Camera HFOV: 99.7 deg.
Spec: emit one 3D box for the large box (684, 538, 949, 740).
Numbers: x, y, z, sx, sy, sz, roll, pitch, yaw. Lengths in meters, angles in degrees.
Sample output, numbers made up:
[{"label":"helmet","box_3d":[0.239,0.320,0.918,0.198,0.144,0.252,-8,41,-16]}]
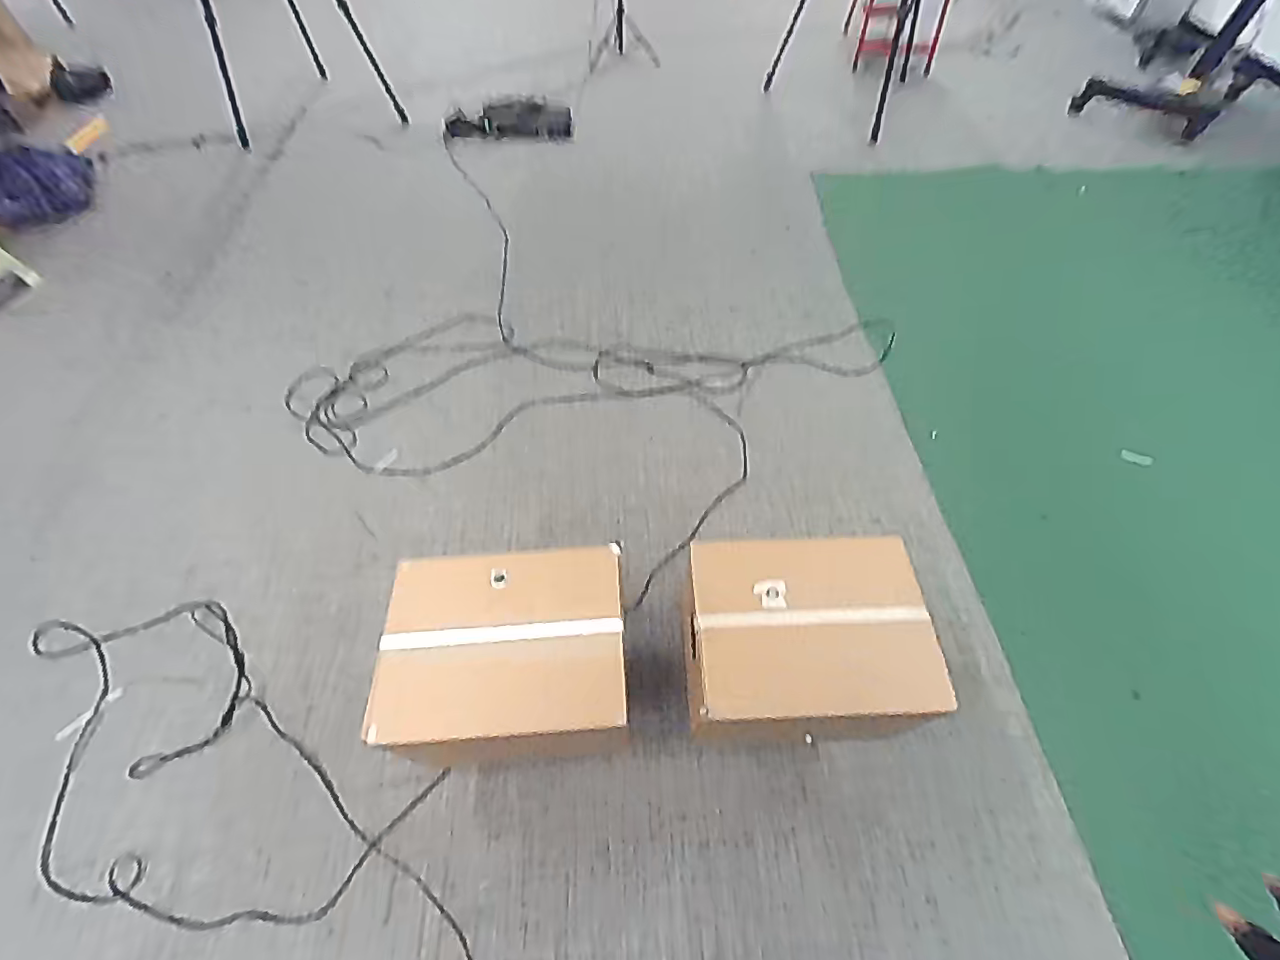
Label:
[{"label":"large box","box_3d":[0.305,0.328,1.080,0.408,0.320,0.320,-2,56,-1]}]
